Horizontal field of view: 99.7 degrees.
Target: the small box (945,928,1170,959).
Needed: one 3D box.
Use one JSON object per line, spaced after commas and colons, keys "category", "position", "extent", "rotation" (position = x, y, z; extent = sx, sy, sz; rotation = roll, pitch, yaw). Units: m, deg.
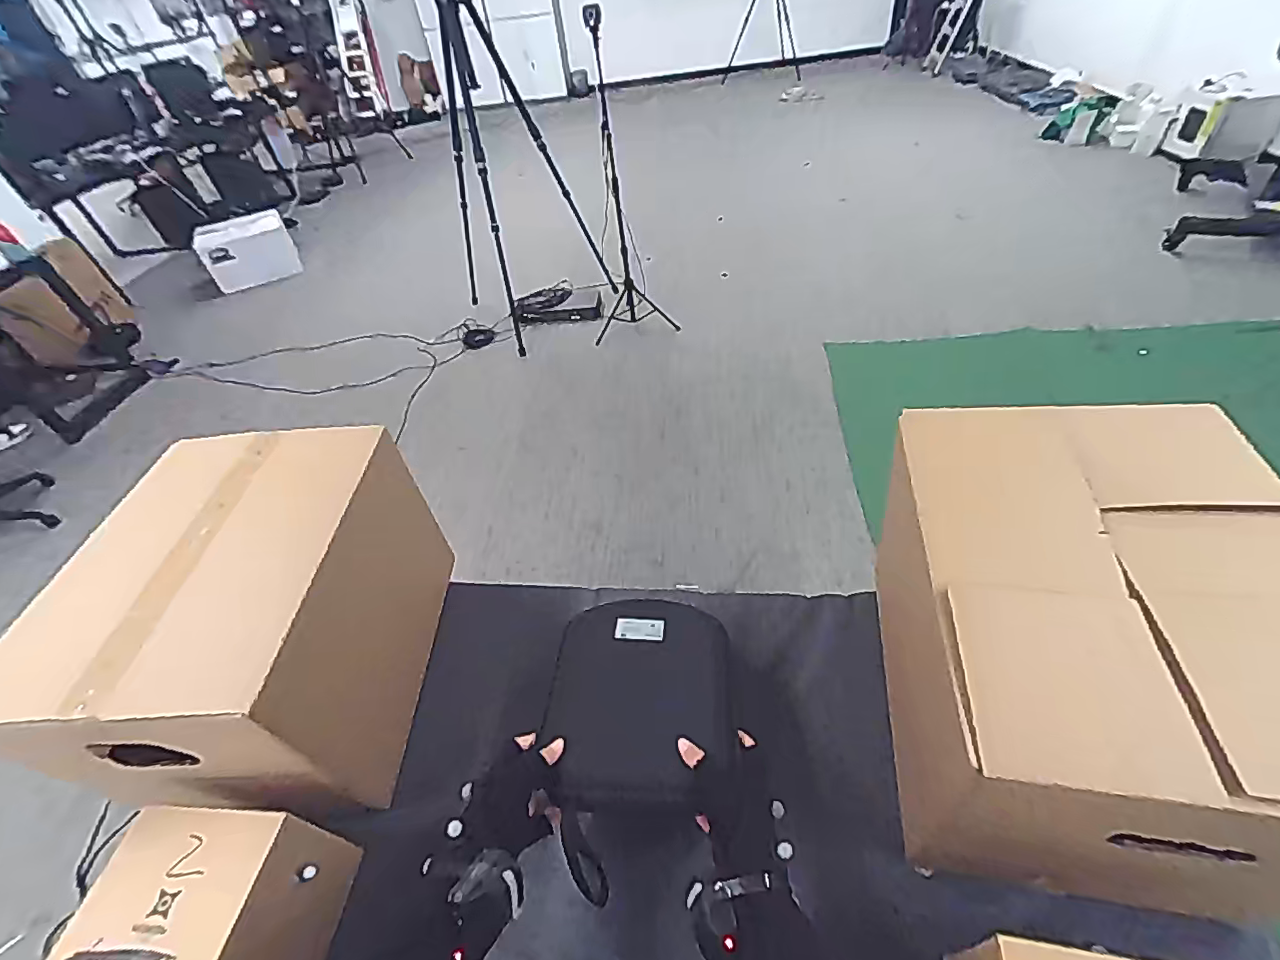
{"category": "small box", "position": [0.353, 0.474, 0.408], "extent": [0.168, 0.176, 0.179], "rotation": [2, 47, 12]}
